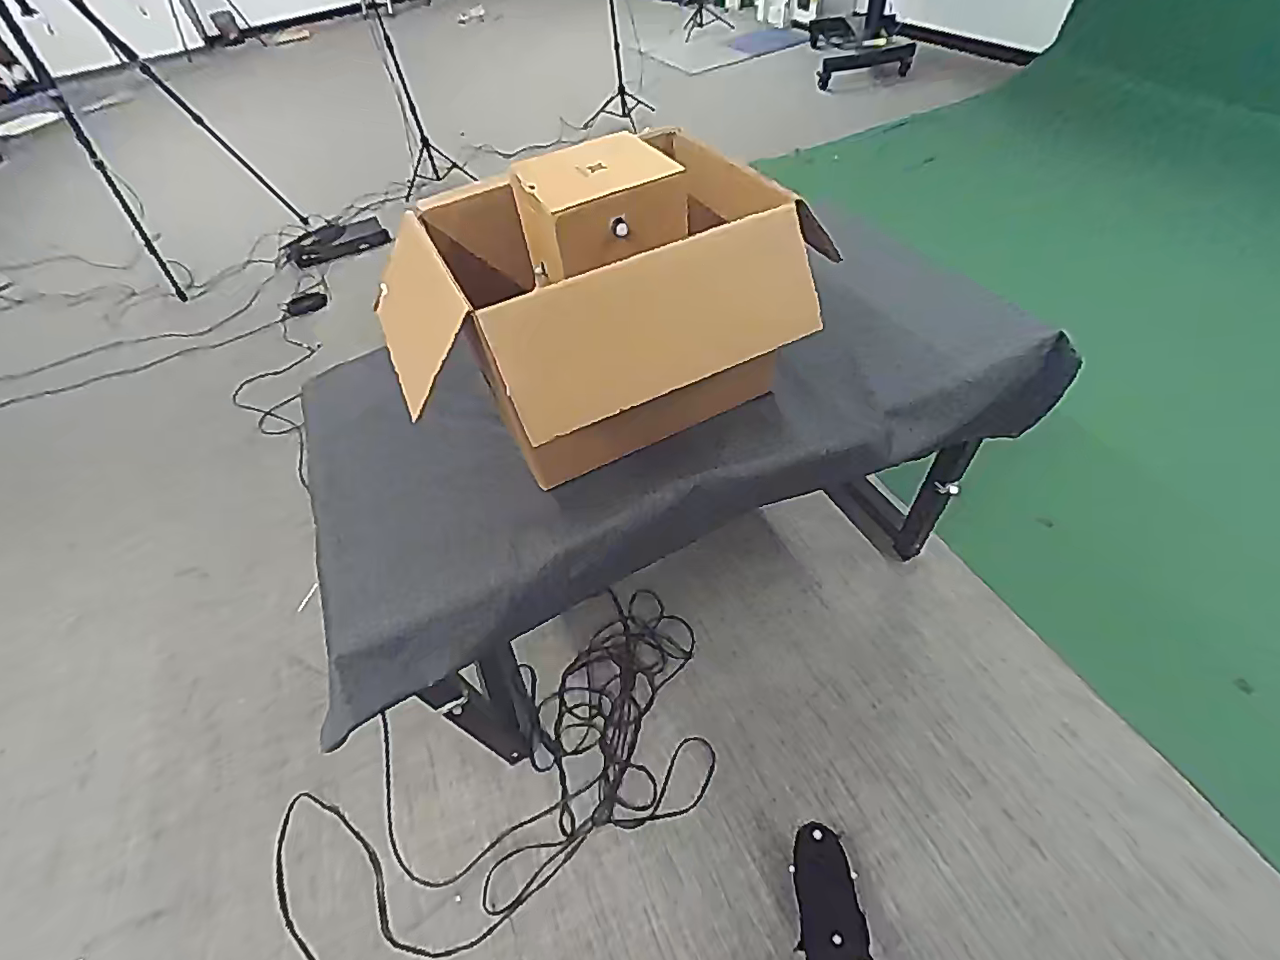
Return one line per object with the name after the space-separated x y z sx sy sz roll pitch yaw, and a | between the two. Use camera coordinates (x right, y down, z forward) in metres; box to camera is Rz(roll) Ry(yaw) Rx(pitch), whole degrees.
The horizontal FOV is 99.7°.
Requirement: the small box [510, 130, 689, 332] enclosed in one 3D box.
-0.049 -0.329 0.721 0.179 0.176 0.168 -24 52 -12 | small box
